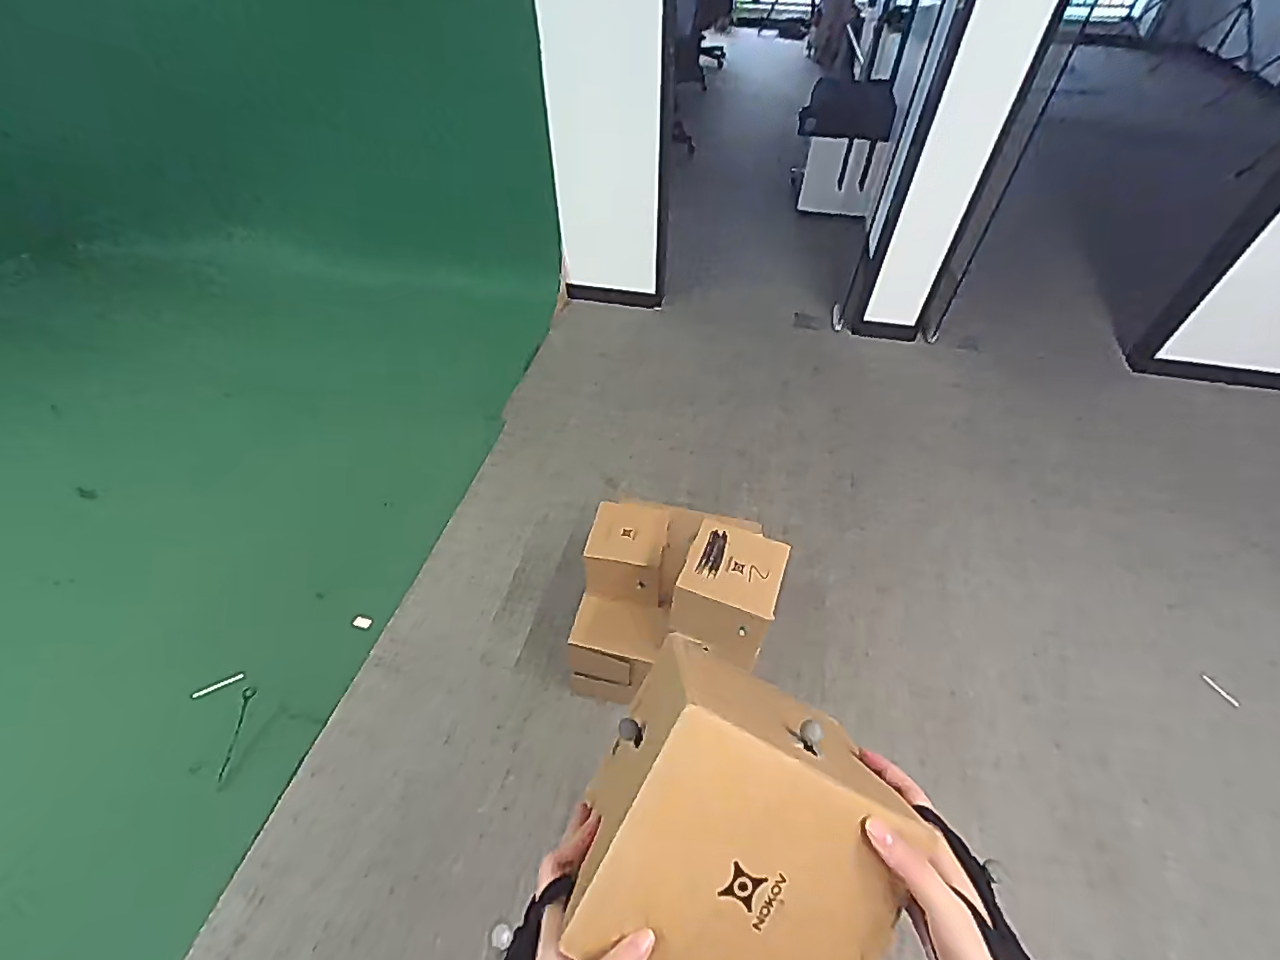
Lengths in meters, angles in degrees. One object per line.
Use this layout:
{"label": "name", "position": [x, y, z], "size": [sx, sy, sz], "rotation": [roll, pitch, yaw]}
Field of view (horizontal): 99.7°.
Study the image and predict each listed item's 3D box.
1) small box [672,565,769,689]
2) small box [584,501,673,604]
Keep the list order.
{"label": "small box", "position": [0.170, 0.317, 1.164], "size": [0.168, 0.176, 0.179], "rotation": [13, 49, 11]}
{"label": "small box", "position": [-0.023, 0.176, 1.293], "size": [0.179, 0.176, 0.168], "rotation": [9, 47, 8]}
